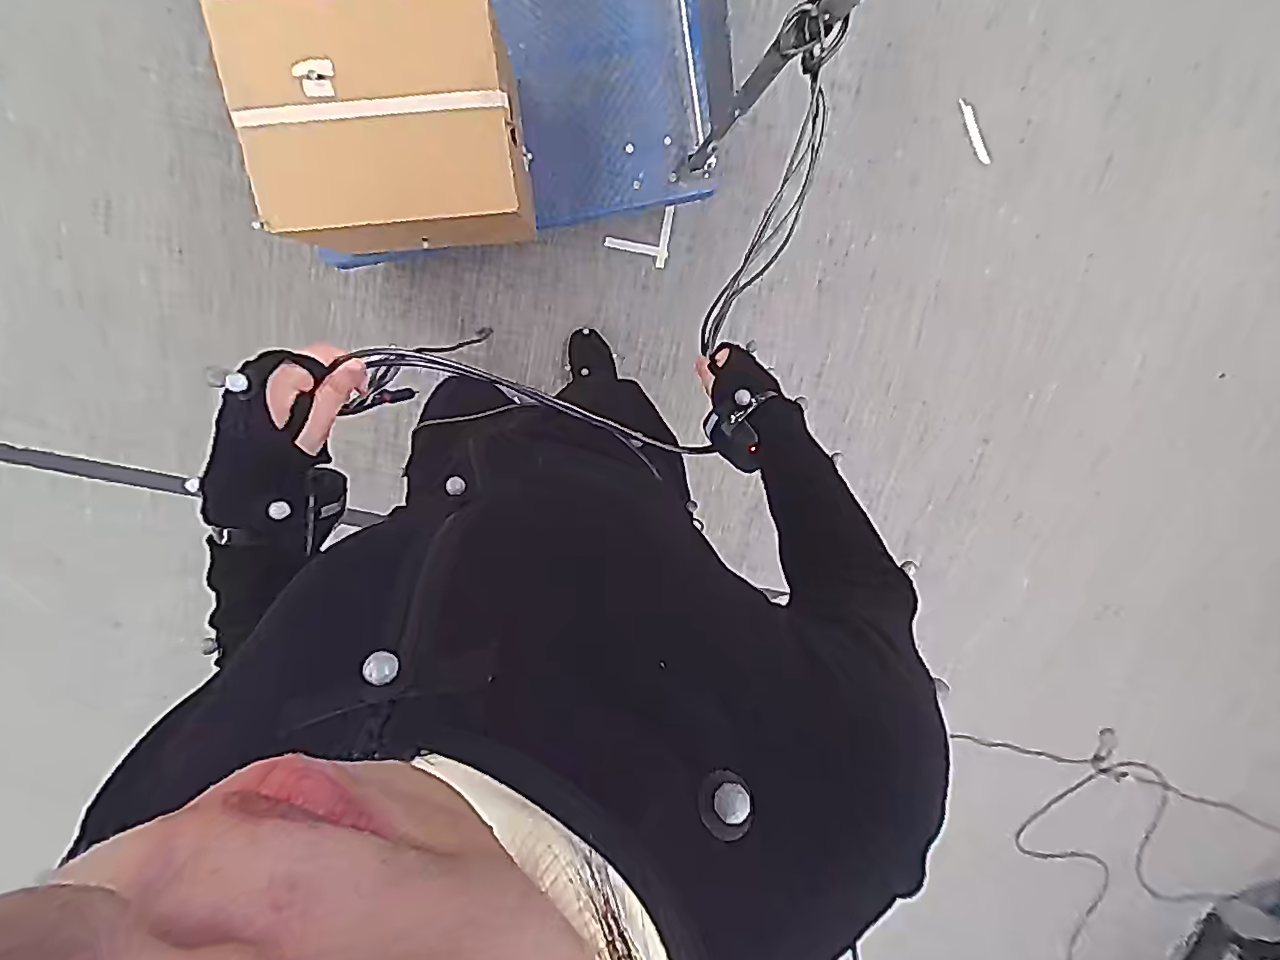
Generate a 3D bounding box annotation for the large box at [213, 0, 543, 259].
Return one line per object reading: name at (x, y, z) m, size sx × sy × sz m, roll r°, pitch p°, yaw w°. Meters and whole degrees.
large box at (-0.410, -0.590, 0.964) m, size 0.408 × 0.320 × 0.320 m, roll -6°, pitch 106°, yaw -2°
